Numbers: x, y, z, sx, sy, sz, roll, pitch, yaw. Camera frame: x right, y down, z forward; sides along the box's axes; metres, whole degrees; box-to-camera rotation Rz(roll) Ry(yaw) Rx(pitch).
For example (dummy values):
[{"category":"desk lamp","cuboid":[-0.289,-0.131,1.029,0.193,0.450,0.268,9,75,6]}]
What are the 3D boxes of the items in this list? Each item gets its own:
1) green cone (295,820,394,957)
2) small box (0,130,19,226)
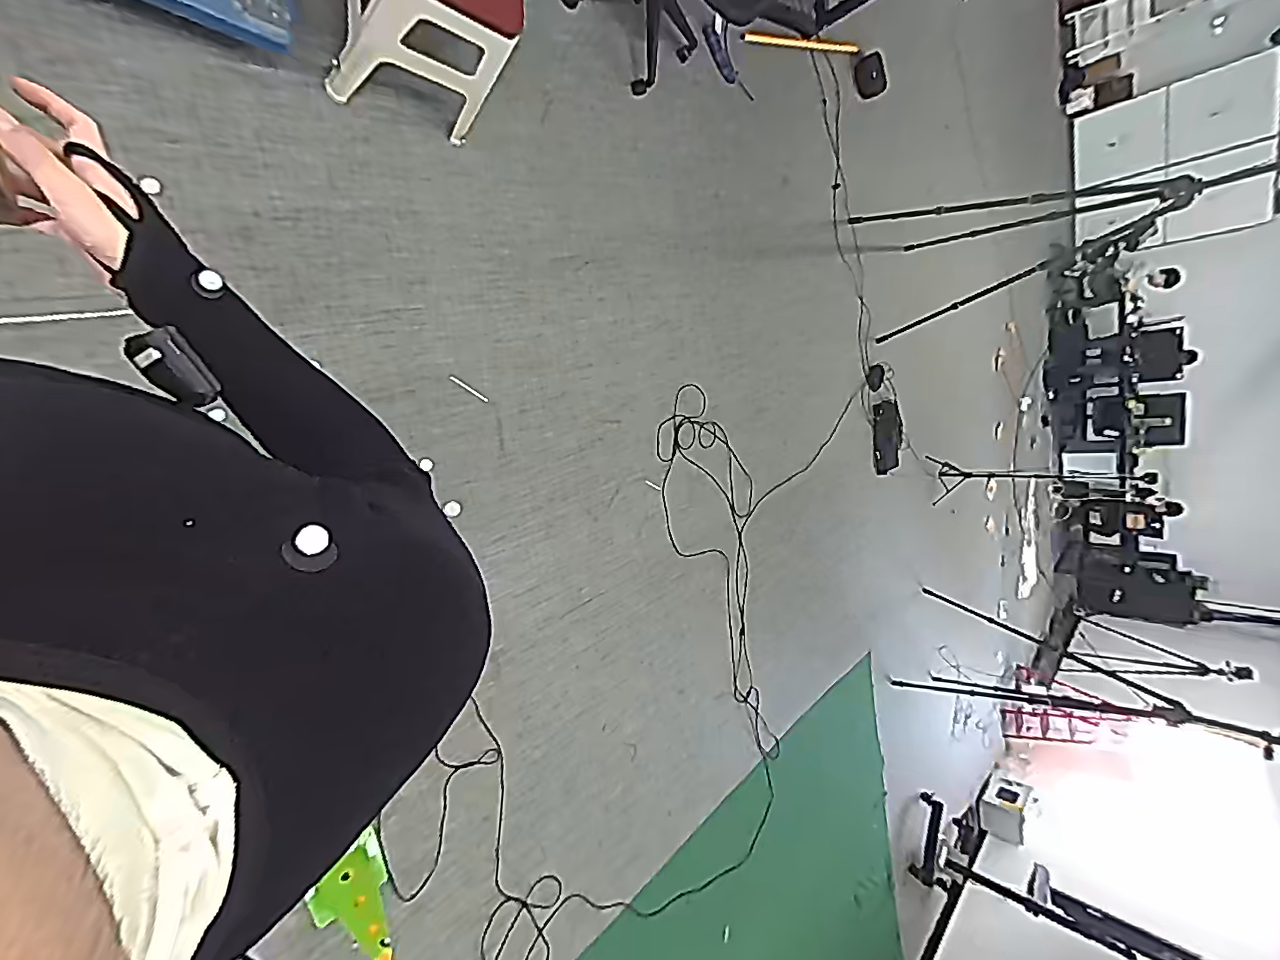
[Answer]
[{"category":"green cone","cuboid":[-0.735,1.119,1.421,0.202,0.368,0.200,-23,108,-40]},{"category":"small box","cuboid":[-0.528,-0.274,0.326,0.168,0.176,0.179,-15,105,-41]}]
